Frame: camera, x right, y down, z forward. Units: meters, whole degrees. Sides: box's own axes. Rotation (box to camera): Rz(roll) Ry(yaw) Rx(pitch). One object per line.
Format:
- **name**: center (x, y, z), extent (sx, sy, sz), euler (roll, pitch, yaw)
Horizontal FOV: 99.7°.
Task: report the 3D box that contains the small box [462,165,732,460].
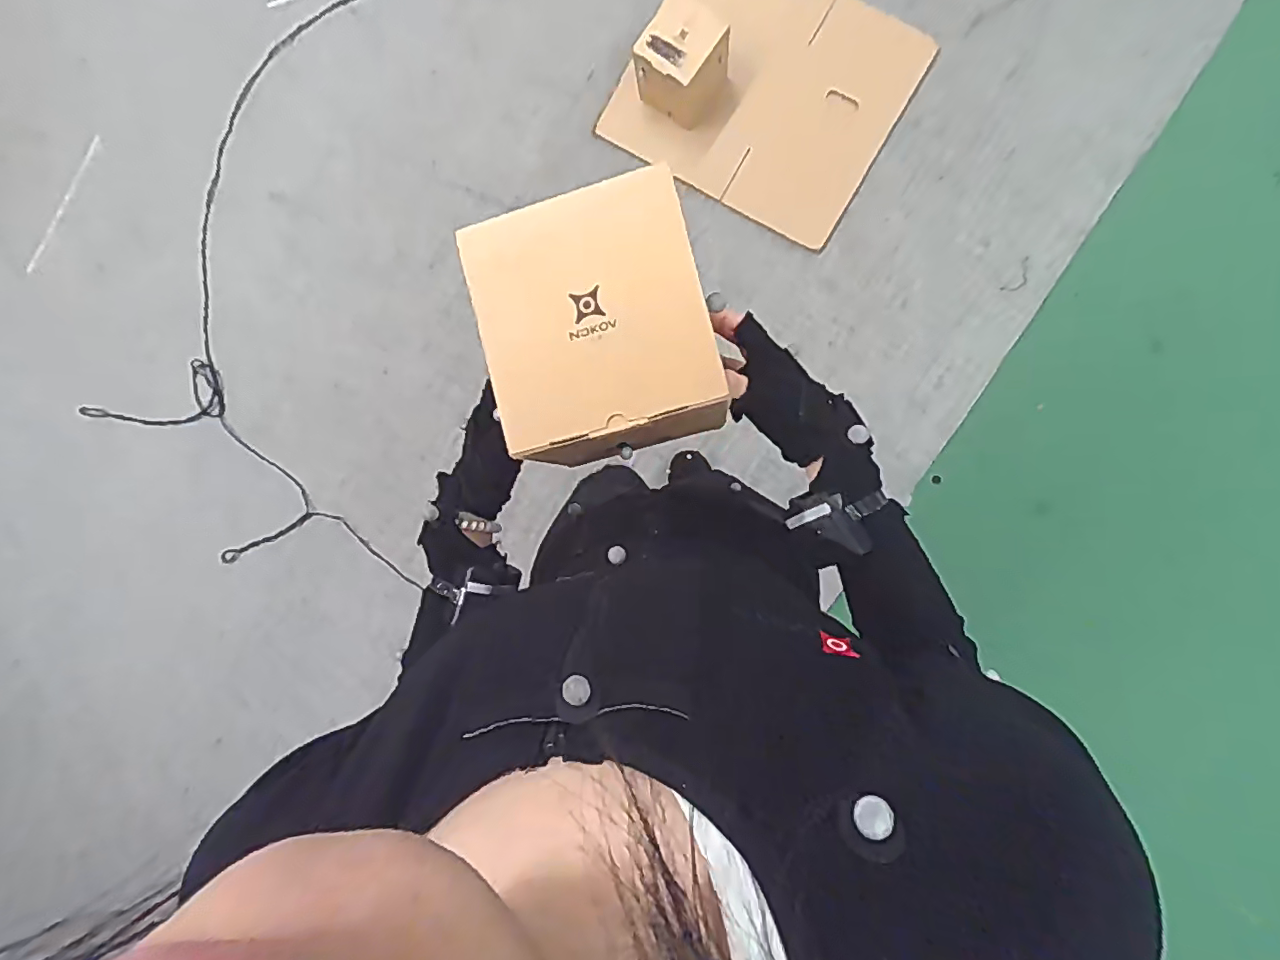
- **small box**: center (-0.026, -0.122, 0.468), extent (0.168, 0.176, 0.179), euler (-15, 89, 7)
